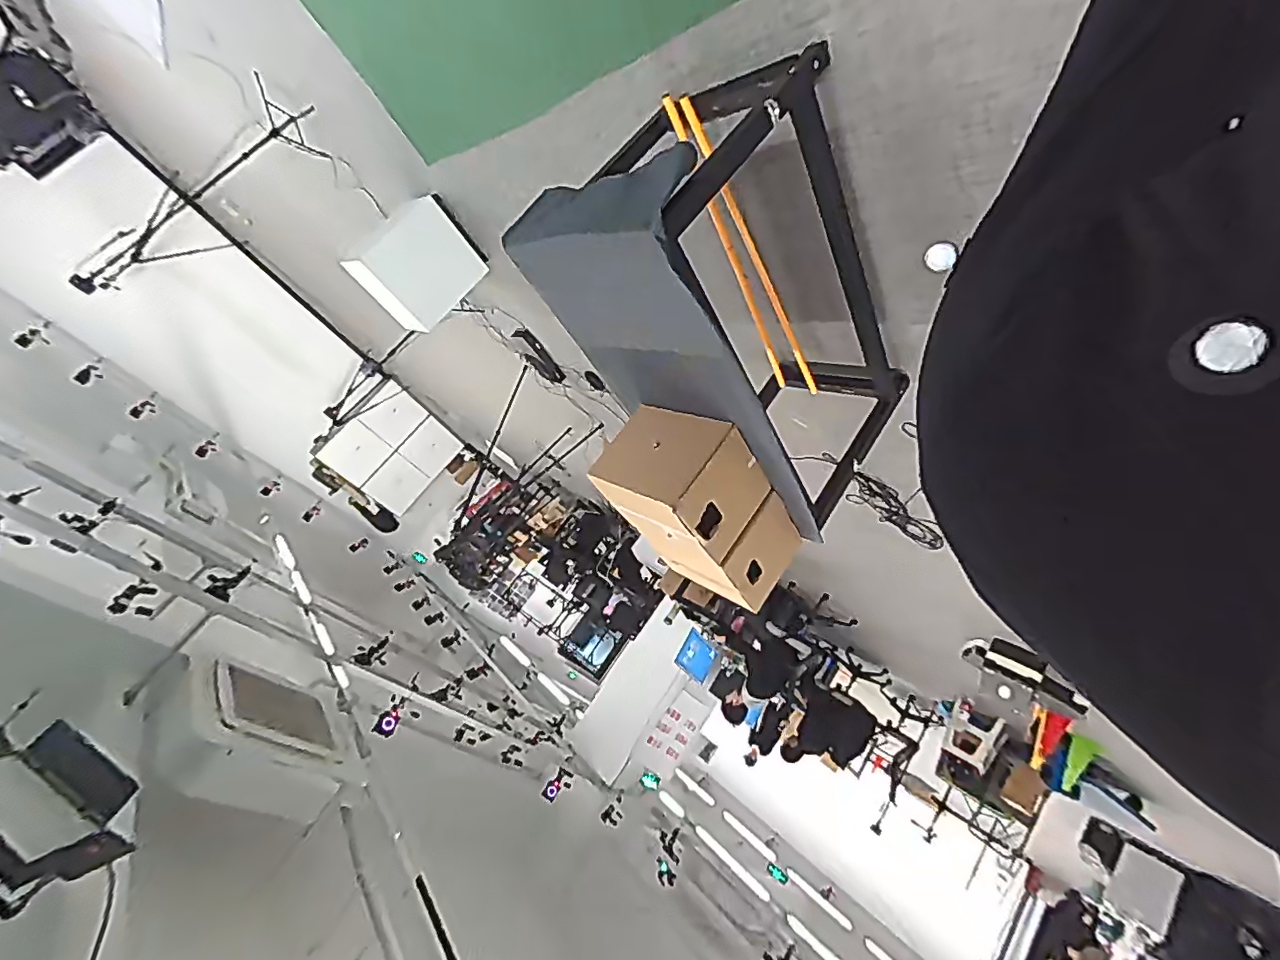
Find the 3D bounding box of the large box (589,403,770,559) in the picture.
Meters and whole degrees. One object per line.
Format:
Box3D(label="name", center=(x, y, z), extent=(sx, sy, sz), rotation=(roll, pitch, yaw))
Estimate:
Box3D(label="large box", center=(0.124, -0.013, 1.693), extent=(0.408, 0.320, 0.320), rotation=(18, 156, 47))
